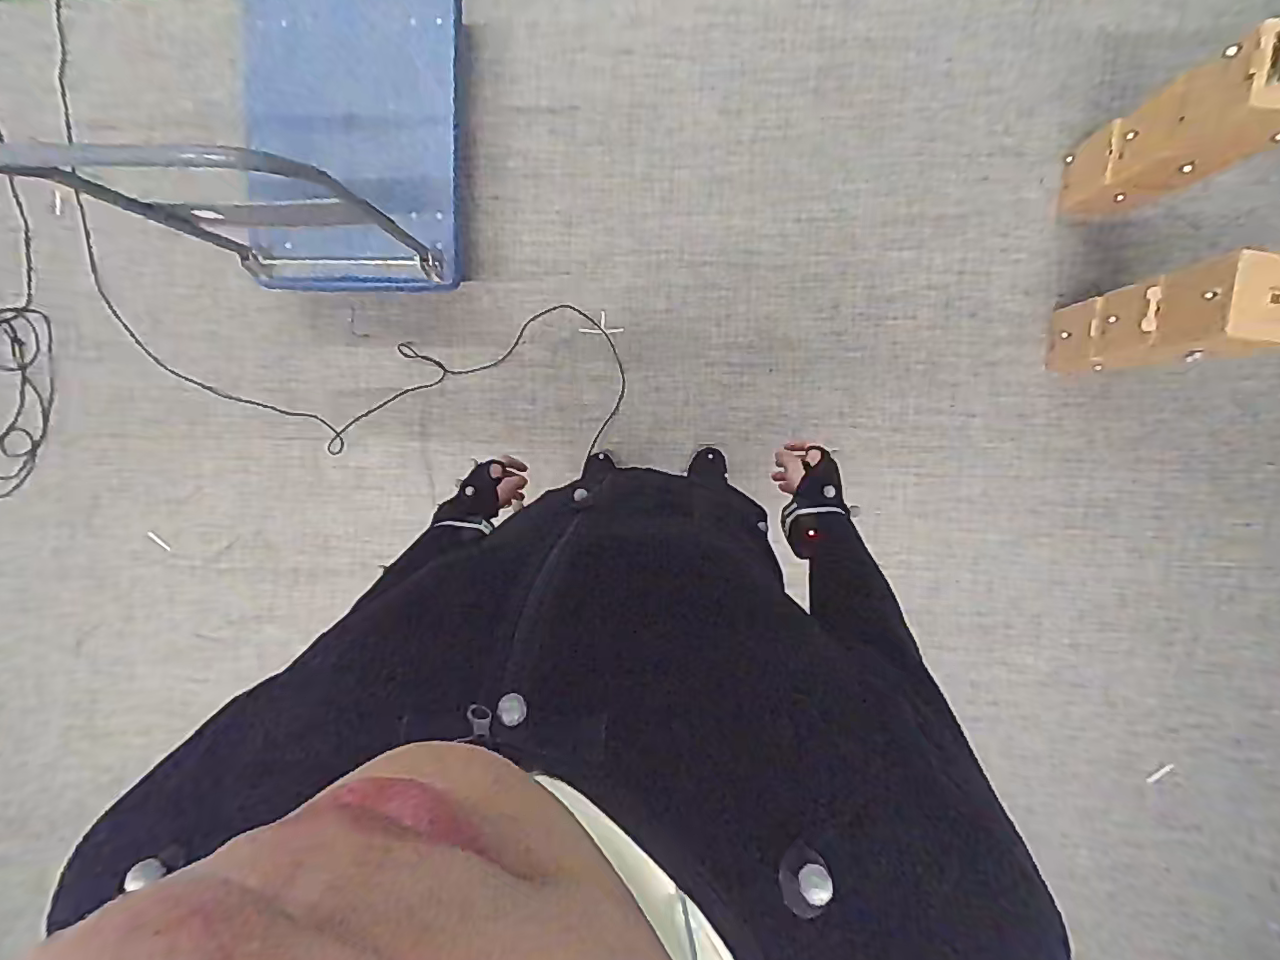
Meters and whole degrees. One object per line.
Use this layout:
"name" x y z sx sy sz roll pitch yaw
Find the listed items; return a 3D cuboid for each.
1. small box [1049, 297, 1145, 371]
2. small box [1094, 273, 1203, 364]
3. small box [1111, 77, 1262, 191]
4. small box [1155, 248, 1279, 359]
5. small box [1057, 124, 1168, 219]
"small box" 1.267 -0.393 1.478 0.179 0.176 0.168 3 94 4
"small box" 1.270 -0.384 1.313 0.179 0.176 0.168 8 93 2
"small box" 1.291 -0.815 1.290 0.179 0.176 0.168 7 94 2
"small box" 1.261 -0.368 1.151 0.168 0.176 0.179 8 94 3
"small box" 1.285 -0.831 1.469 0.179 0.176 0.168 6 95 1
